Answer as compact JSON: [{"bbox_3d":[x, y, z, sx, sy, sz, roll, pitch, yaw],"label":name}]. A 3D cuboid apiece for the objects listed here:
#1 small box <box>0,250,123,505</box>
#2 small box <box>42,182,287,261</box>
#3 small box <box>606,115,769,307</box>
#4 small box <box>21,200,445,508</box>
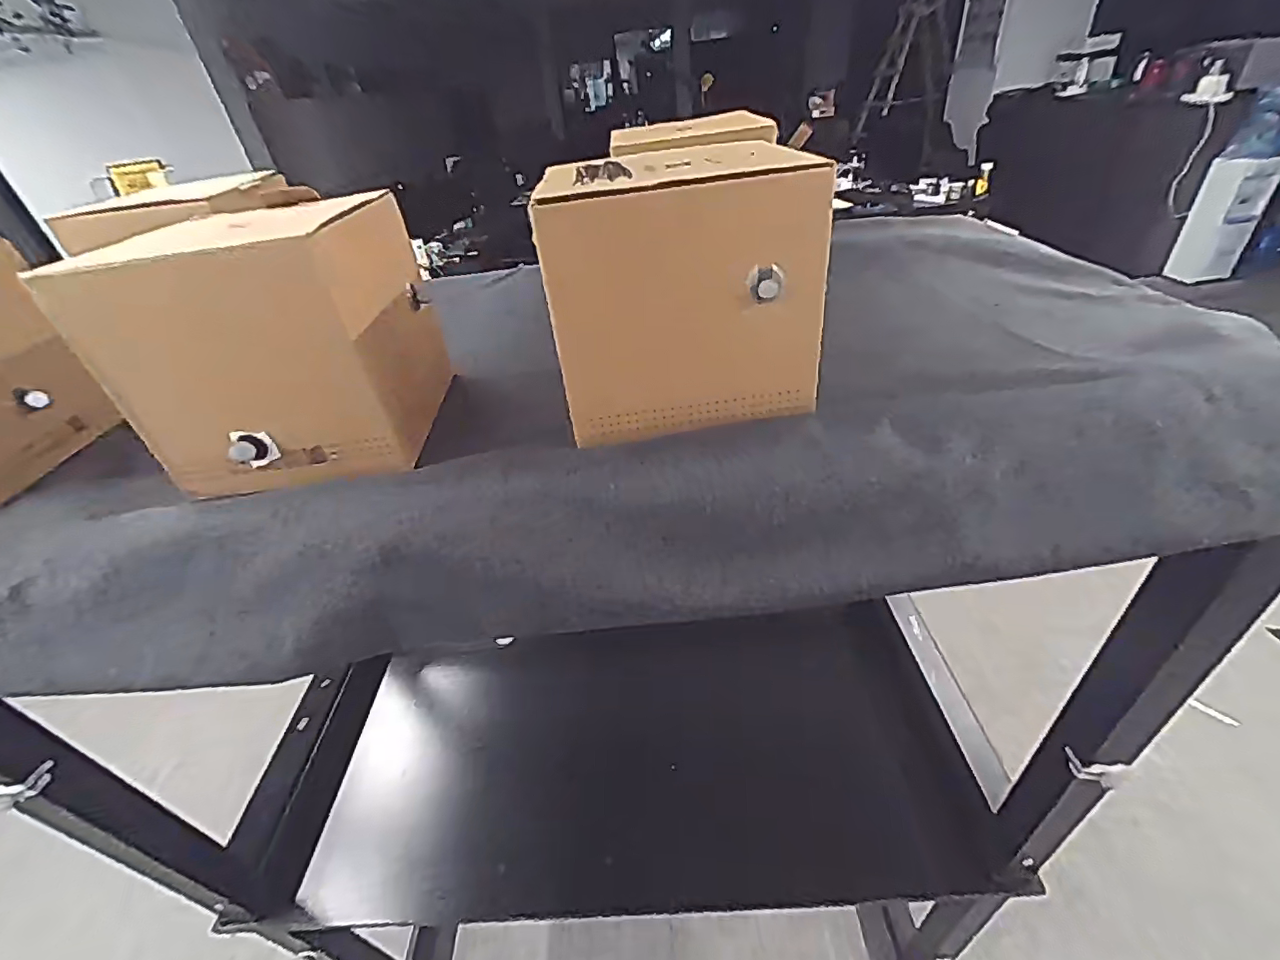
[{"bbox_3d":[-0.596,-0.068,0.429,0.179,0.176,0.168,-7,36,-1],"label":"small box"},{"bbox_3d":[-0.519,-0.247,0.657,0.179,0.176,0.168,-6,37,1],"label":"small box"},{"bbox_3d":[0.055,-0.313,0.640,0.168,0.176,0.179,-7,37,2],"label":"small box"},{"bbox_3d":[-0.266,-0.102,0.416,0.168,0.176,0.179,-9,35,0],"label":"small box"}]
